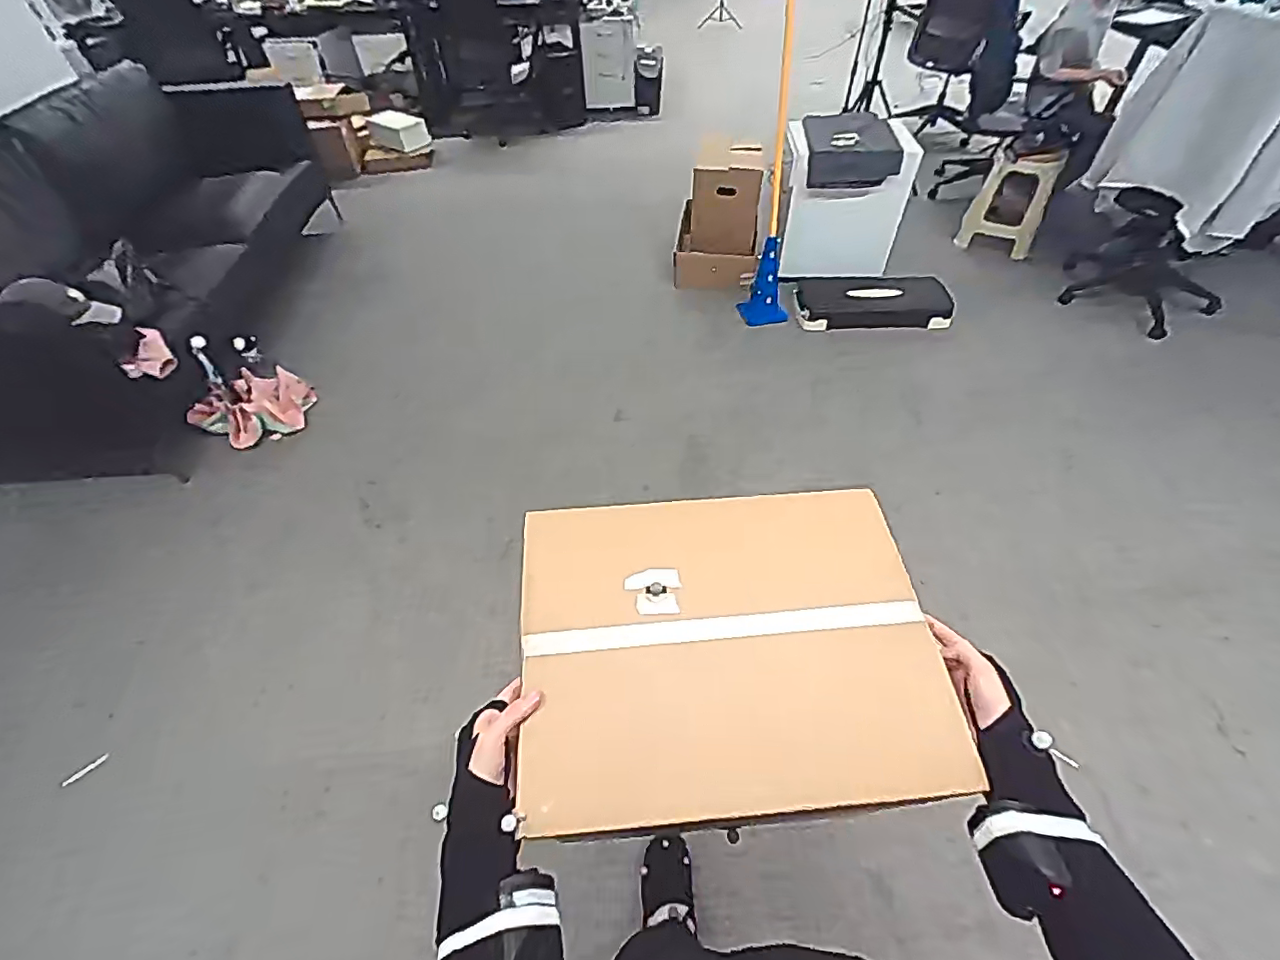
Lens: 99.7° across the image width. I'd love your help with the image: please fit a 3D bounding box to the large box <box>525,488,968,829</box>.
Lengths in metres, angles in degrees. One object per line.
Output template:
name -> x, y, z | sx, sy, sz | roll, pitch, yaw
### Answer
large box -> 0.088, 0.235, 0.679 | 0.408, 0.320, 0.320 | -5, 55, -2
